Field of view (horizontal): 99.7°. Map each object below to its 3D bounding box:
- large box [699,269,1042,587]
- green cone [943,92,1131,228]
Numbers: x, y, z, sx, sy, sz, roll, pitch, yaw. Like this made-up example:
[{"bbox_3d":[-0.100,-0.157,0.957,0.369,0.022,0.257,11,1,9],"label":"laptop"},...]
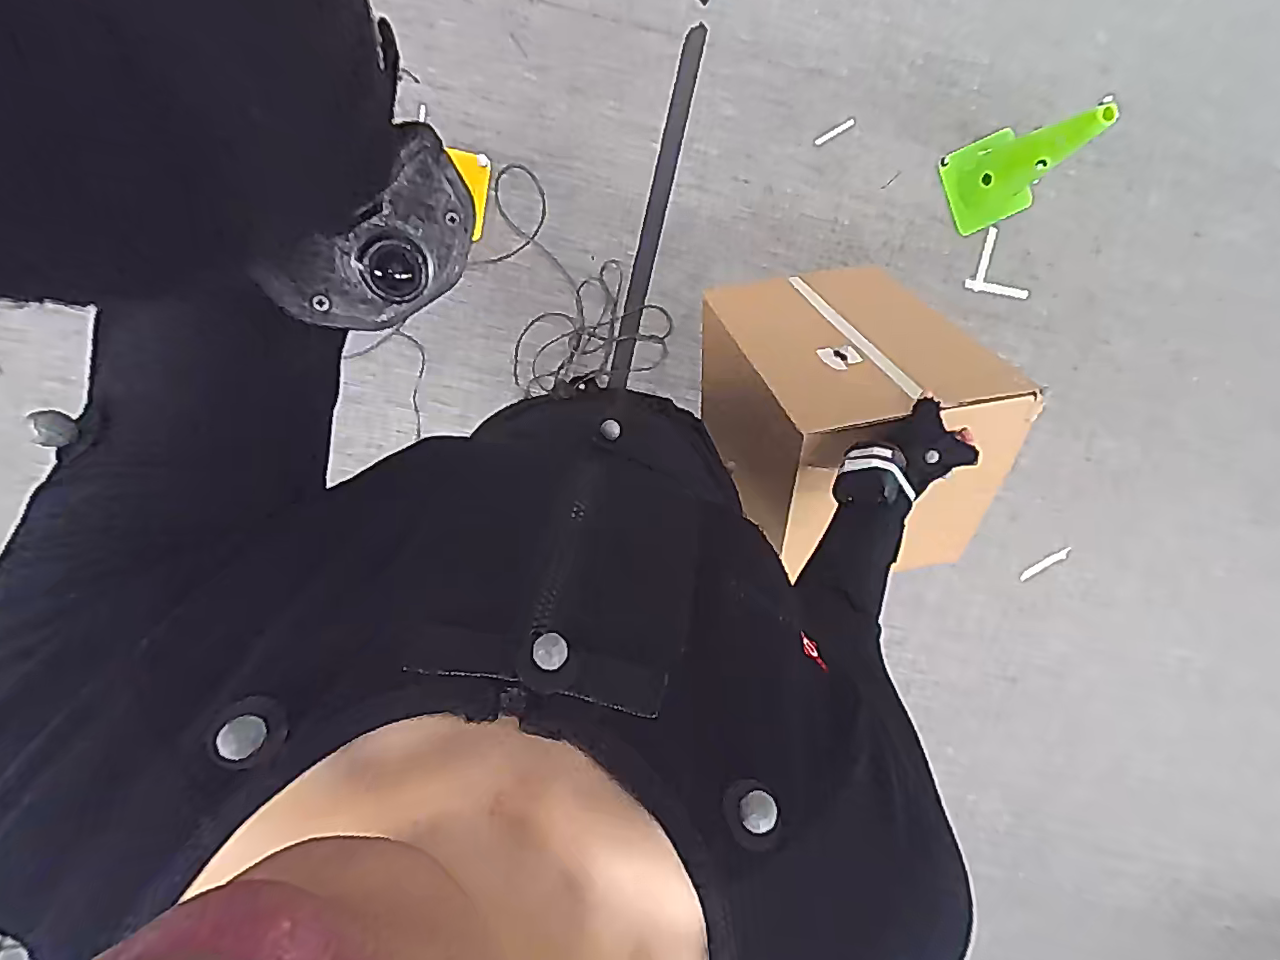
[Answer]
[{"bbox_3d":[0.300,-0.099,0.872,0.320,0.408,0.320,-10,134,-6],"label":"large box"},{"bbox_3d":[0.884,-0.729,1.184,0.202,0.368,0.200,-25,101,2],"label":"green cone"}]
